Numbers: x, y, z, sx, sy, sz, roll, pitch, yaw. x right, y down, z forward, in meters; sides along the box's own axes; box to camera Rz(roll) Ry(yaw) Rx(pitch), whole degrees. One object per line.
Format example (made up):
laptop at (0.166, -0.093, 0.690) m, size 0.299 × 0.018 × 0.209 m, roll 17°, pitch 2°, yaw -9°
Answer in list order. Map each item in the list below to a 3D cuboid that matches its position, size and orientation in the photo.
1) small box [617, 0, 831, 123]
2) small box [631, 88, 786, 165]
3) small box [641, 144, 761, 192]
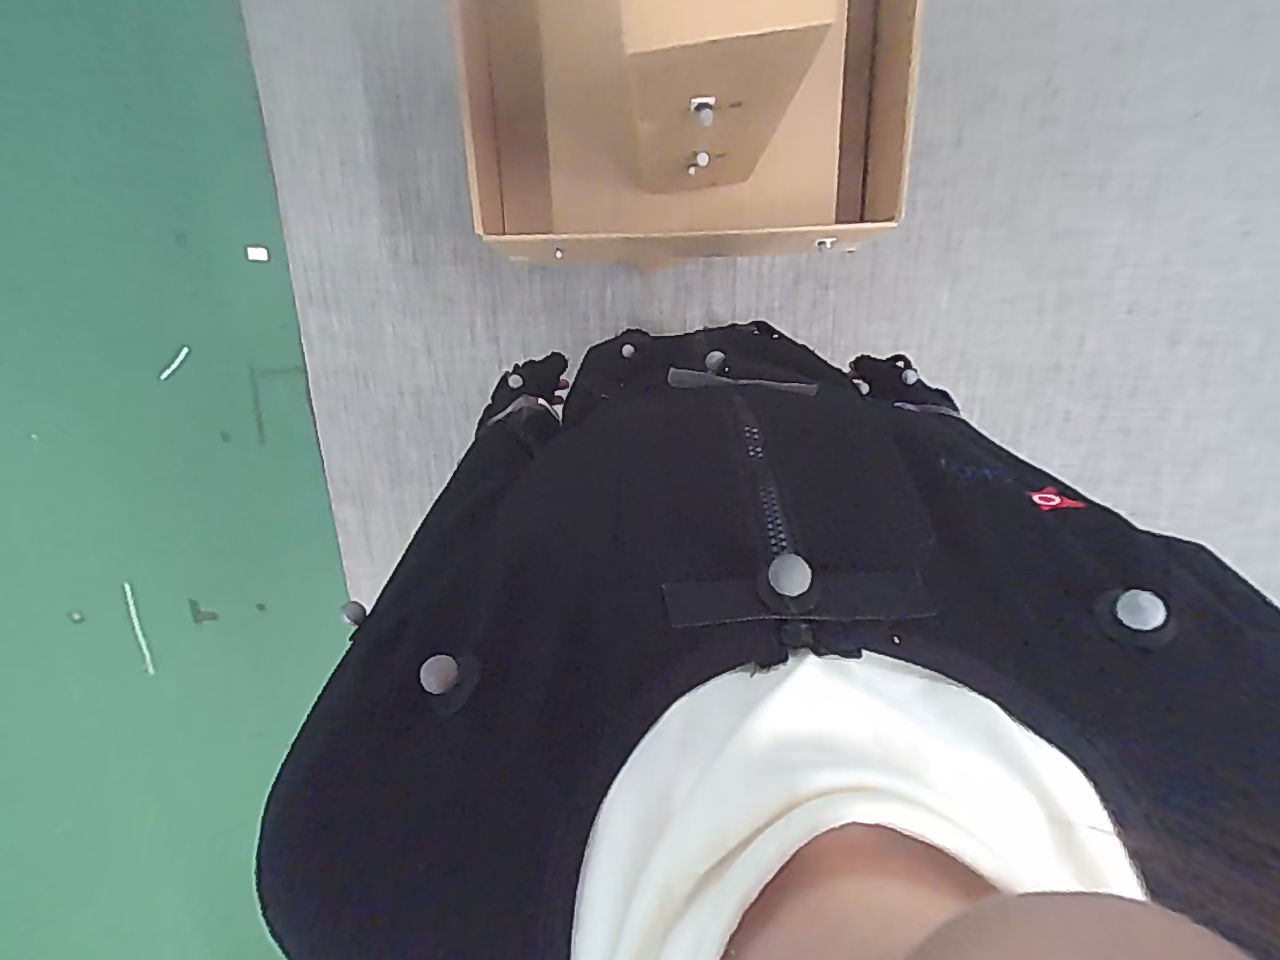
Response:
small box at (0.062, -0.451, 0.476) m, size 0.168 × 0.176 × 0.179 m, roll -5°, pitch 106°, yaw 5°
small box at (0.069, -0.495, 0.631) m, size 0.168 × 0.176 × 0.179 m, roll -5°, pitch 106°, yaw 4°
small box at (0.079, -0.544, 0.787) m, size 0.168 × 0.176 × 0.179 m, roll -5°, pitch 105°, yaw 6°
